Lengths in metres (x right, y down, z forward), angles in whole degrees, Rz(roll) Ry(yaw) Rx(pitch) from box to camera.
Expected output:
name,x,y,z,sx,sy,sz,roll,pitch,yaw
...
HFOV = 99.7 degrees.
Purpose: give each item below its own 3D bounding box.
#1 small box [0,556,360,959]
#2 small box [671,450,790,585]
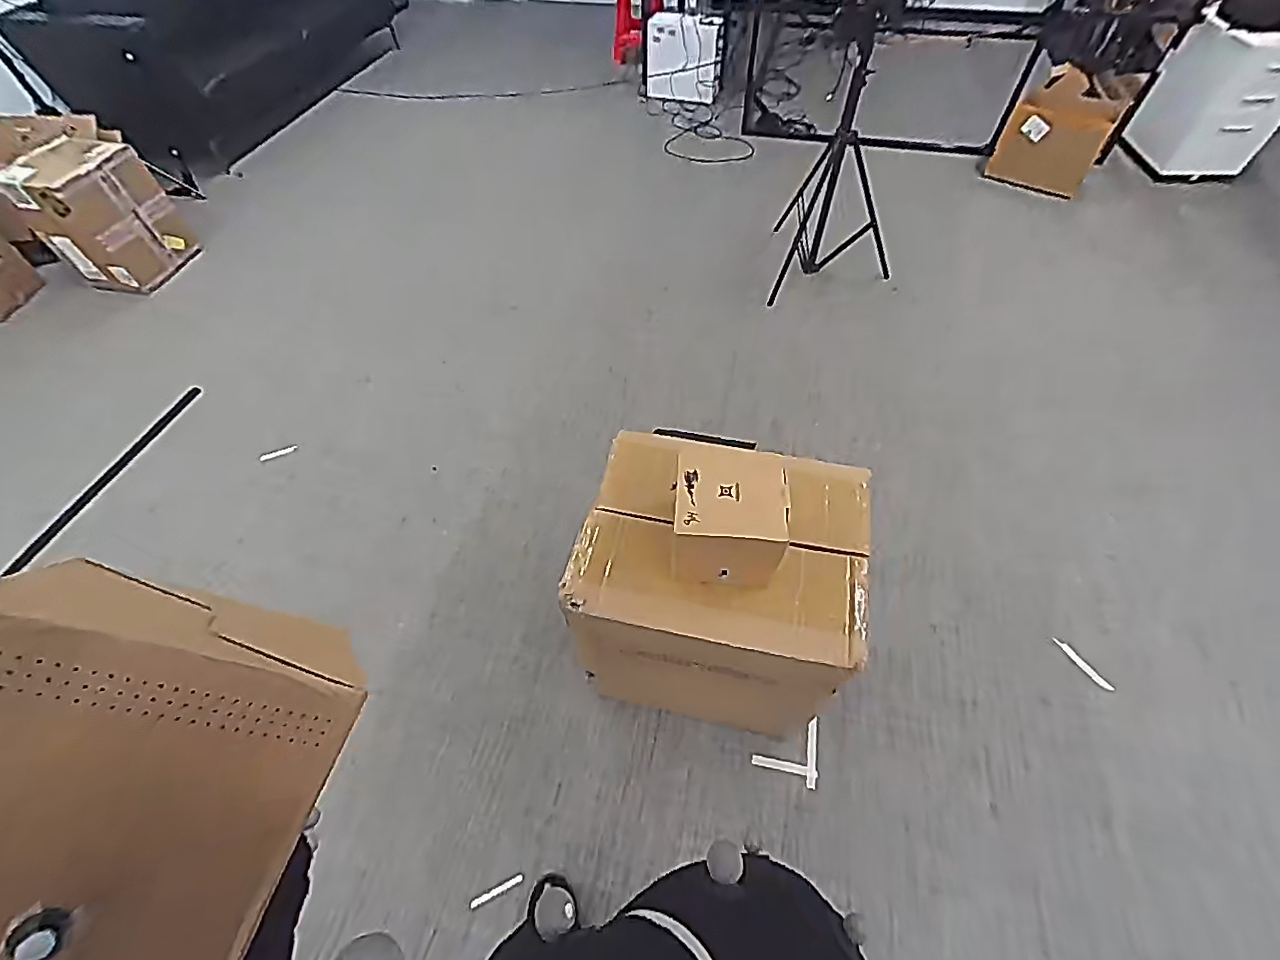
name,x,y,z,sx,sy,sz,roll,pitch,yaw
small box,-0.291,0.157,0.315,0.179,0.168,0.176,29,72,-28
small box,0.146,0.069,0.919,0.179,0.176,0.168,3,55,4
